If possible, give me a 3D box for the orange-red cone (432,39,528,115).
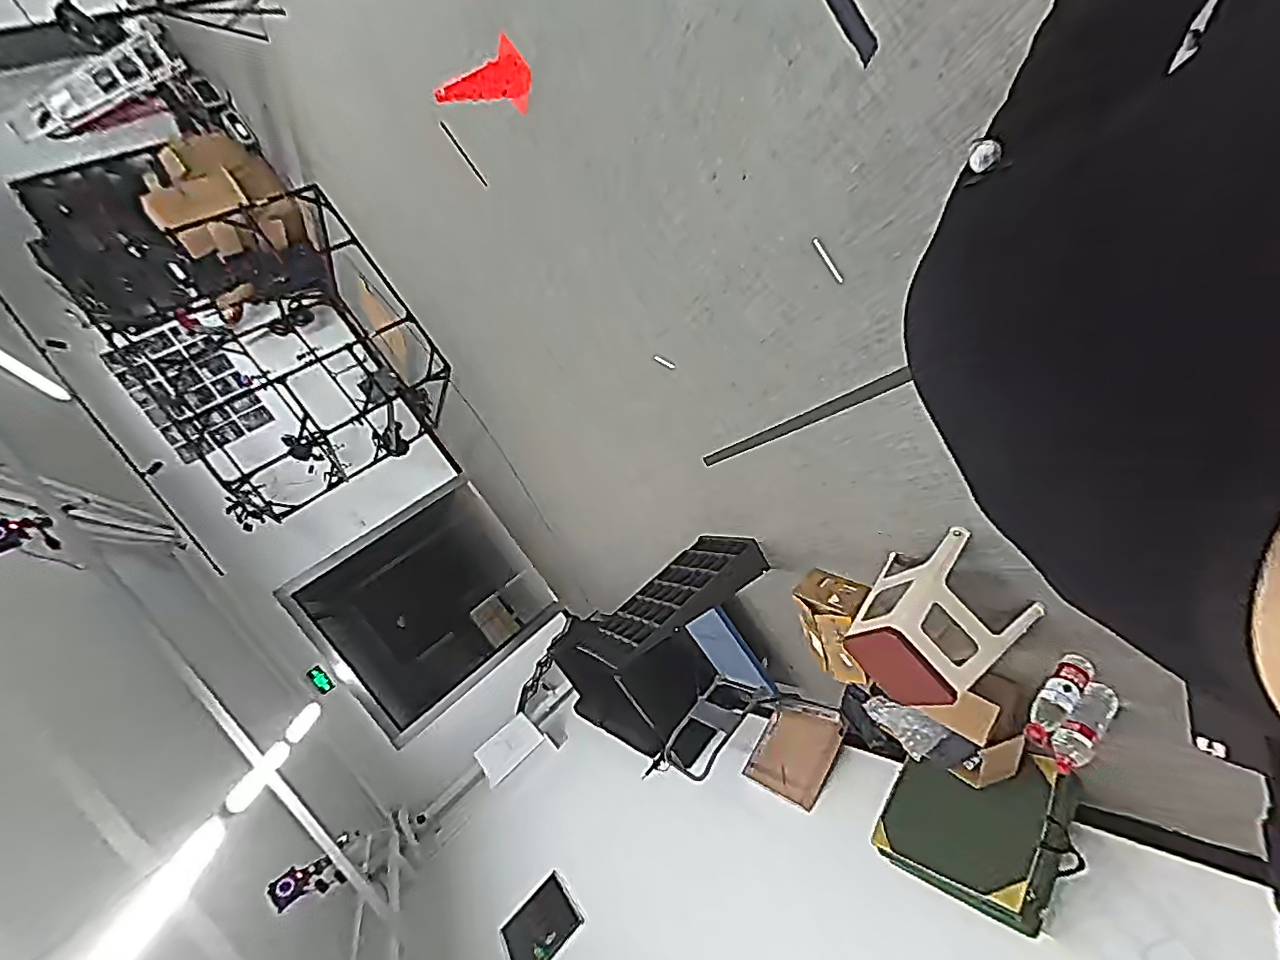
[{"bbox_3d":[-0.643,-1.520,2.102,0.199,0.360,0.198,51,156,-2],"label":"orange-red cone"}]
